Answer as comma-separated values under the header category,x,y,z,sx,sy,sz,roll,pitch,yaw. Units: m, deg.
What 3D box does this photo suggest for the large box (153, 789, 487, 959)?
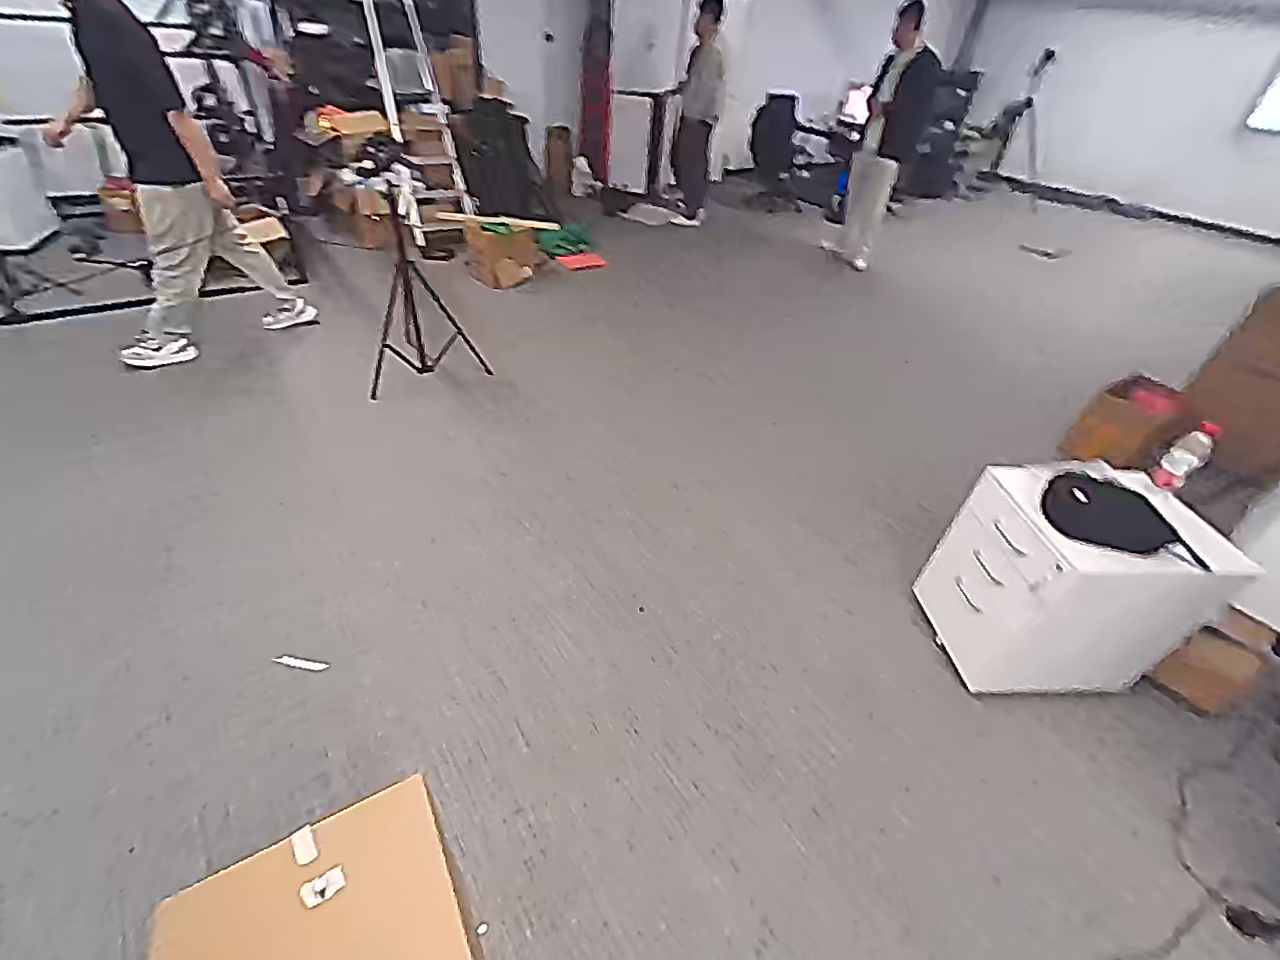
category,x,y,z,sx,sy,sz,roll,pitch,yaw
large box,-0.362,0.710,0.701,0.320,0.408,0.320,-19,35,-26
